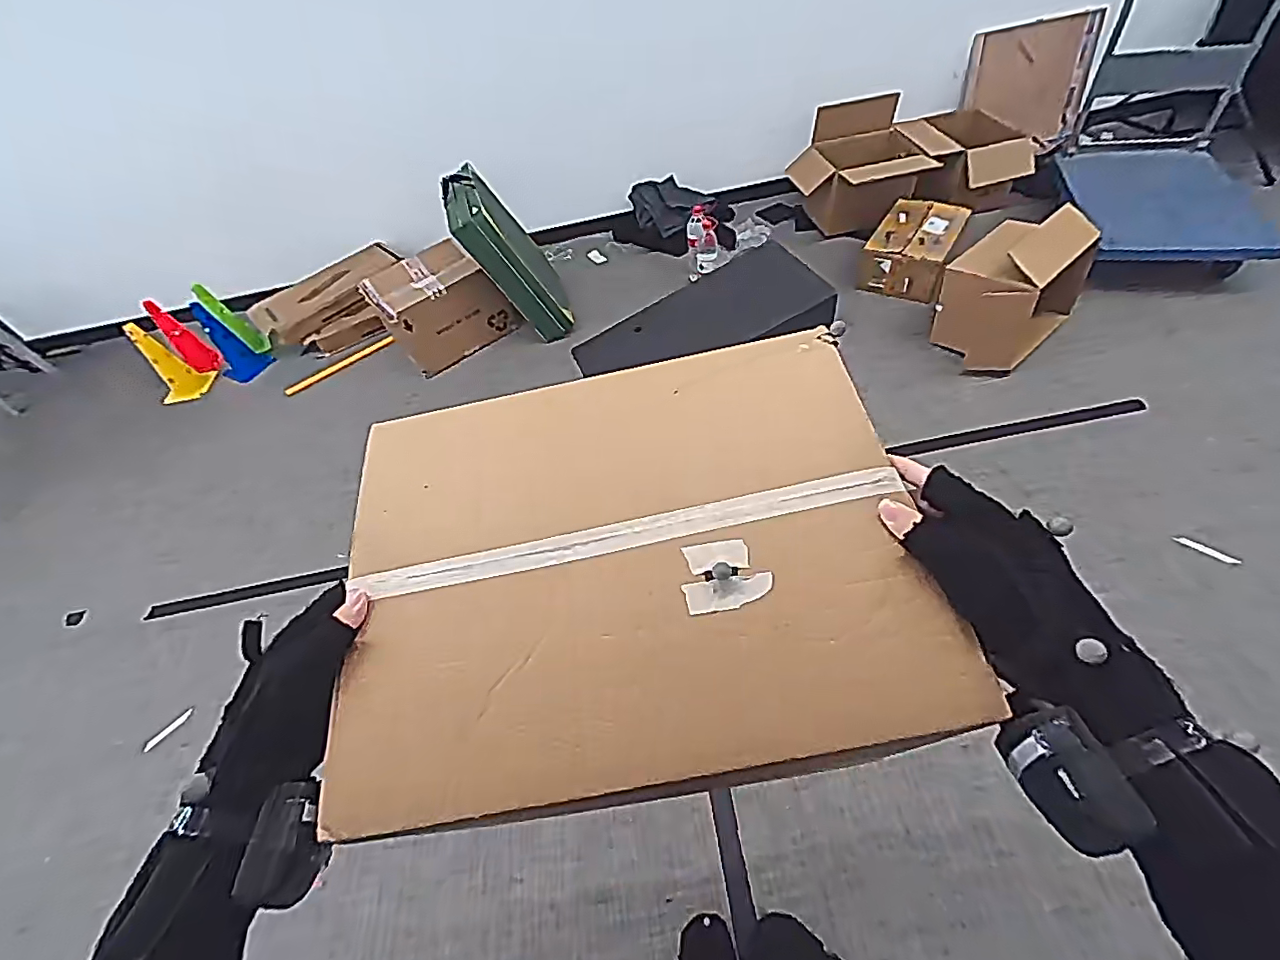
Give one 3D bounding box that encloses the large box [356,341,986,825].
[{"bbox_3d":[0.011,0.120,0.532,0.408,0.320,0.320,-12,59,2],"label":"large box"}]
